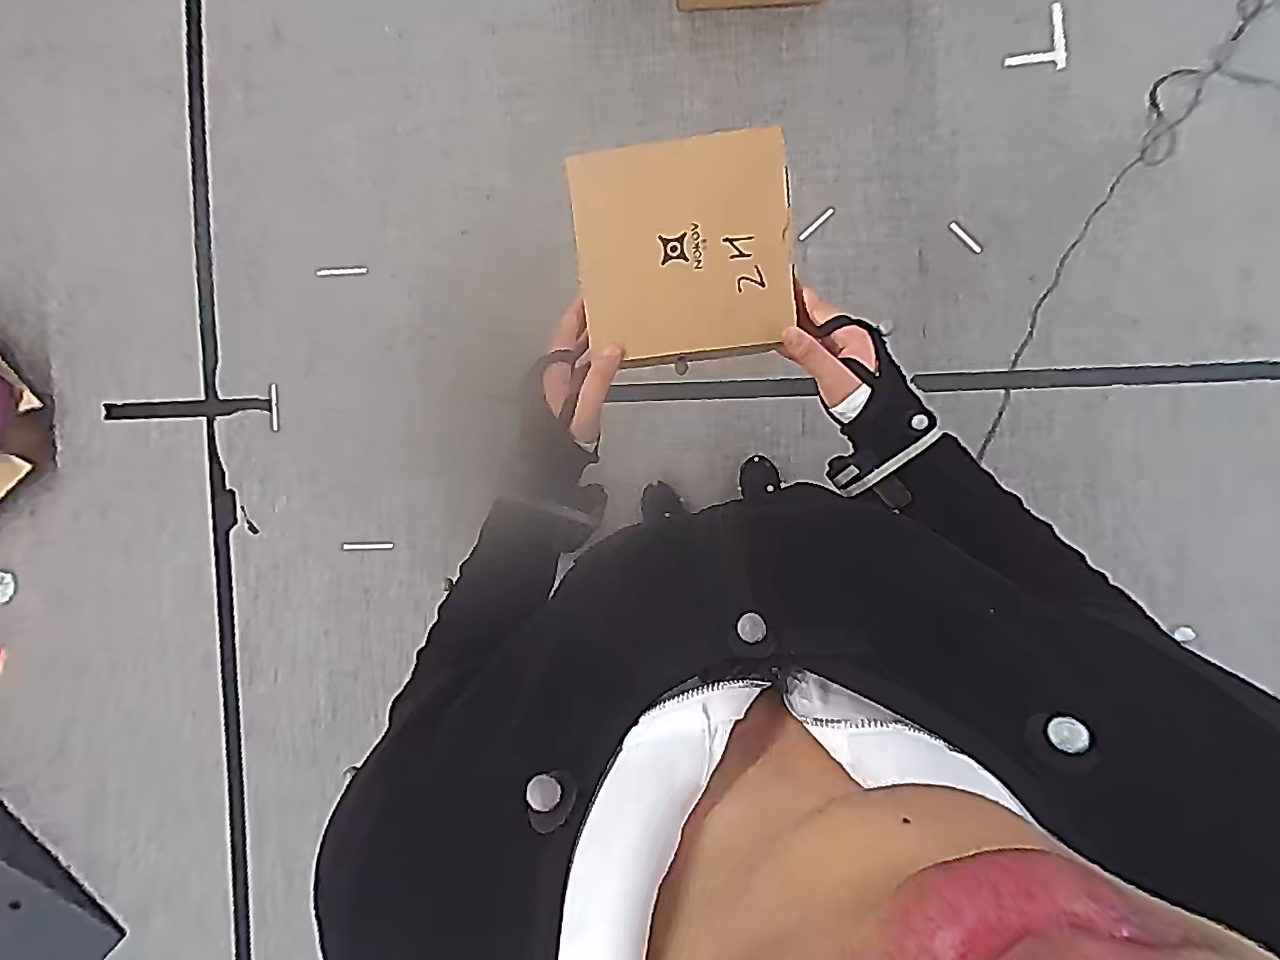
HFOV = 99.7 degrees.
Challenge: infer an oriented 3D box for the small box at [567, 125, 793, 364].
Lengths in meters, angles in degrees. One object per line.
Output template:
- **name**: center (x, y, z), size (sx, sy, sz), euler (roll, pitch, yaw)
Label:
- **small box**: center (0.039, -0.204, 0.520), size (0.179, 0.176, 0.168), euler (-6, 100, 4)
